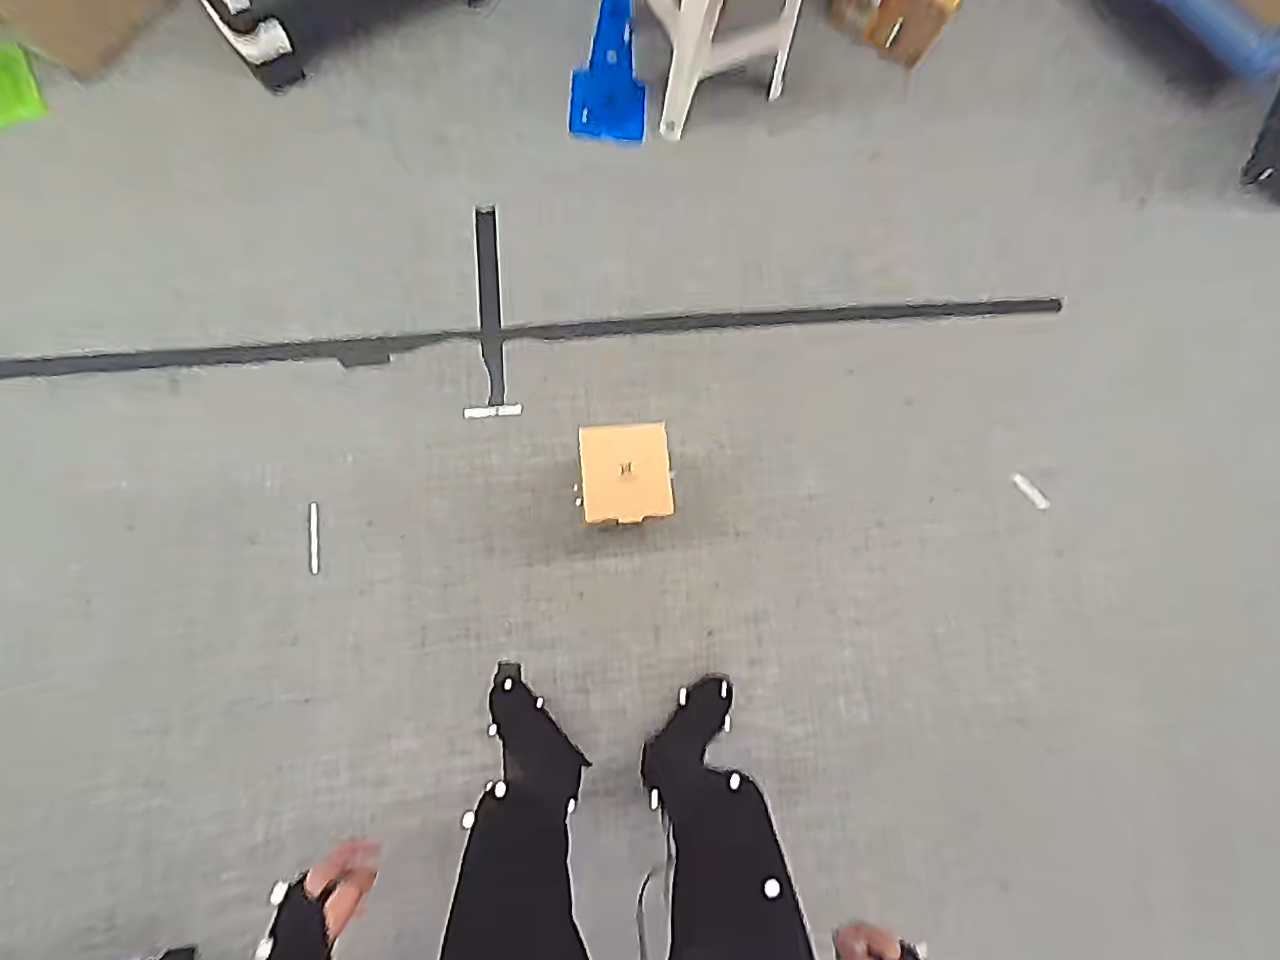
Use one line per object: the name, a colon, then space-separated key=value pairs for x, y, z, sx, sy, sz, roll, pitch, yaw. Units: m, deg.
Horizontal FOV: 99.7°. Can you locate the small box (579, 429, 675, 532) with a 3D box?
small box: x=-0.033 y=0.006 z=1.086 sx=0.168 sy=0.176 sz=0.179 roll=-4 pitch=82 yaw=-8
